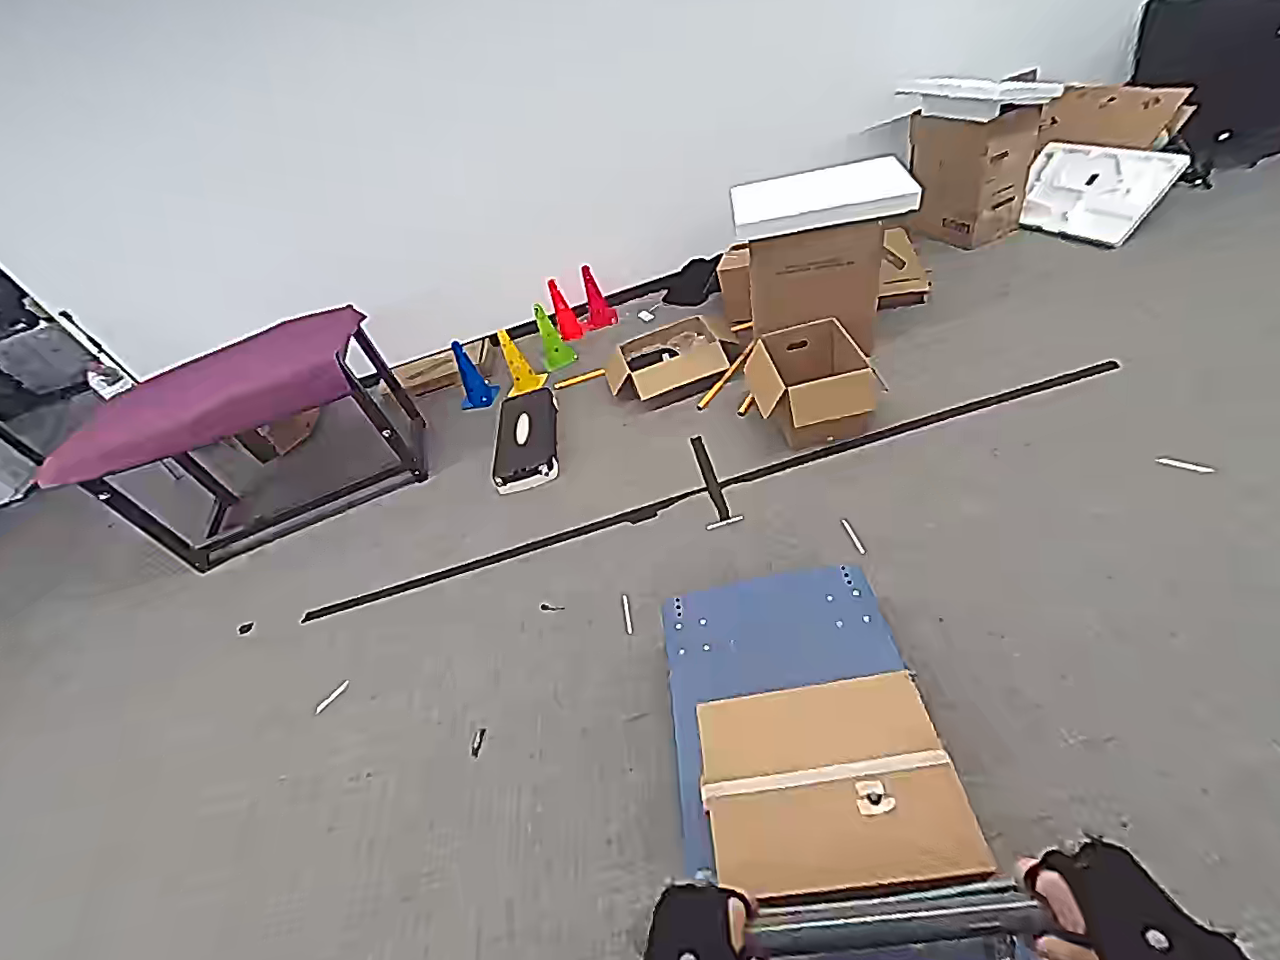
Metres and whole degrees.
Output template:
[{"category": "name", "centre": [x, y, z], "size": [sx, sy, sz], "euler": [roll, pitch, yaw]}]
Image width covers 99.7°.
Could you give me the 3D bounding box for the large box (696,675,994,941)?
[{"category": "large box", "centre": [0.341, 0.610, 1.001], "size": [0.408, 0.320, 0.320], "euler": [-12, 42, 7]}]
